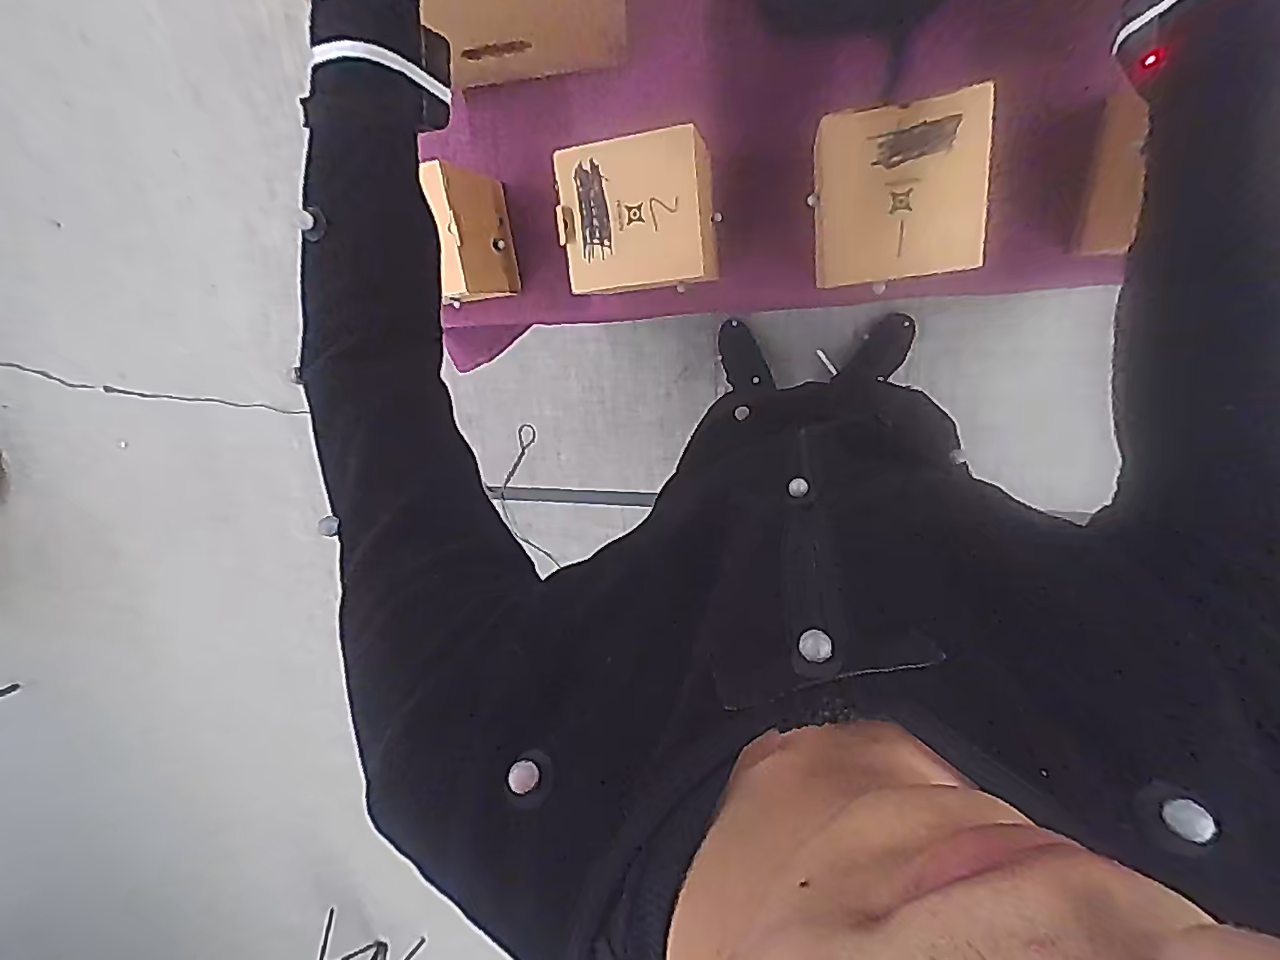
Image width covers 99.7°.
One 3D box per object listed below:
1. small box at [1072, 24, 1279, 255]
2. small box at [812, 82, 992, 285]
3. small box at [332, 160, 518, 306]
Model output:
[{"bbox_3d":[0.601,-0.339,0.569,0.168,0.176,0.179,6,110,14],"label":"small box"},{"bbox_3d":[0.298,-0.336,0.653,0.168,0.176,0.179,-2,109,16],"label":"small box"},{"bbox_3d":[-0.310,-0.355,0.811,0.179,0.176,0.168,-3,108,15],"label":"small box"}]
